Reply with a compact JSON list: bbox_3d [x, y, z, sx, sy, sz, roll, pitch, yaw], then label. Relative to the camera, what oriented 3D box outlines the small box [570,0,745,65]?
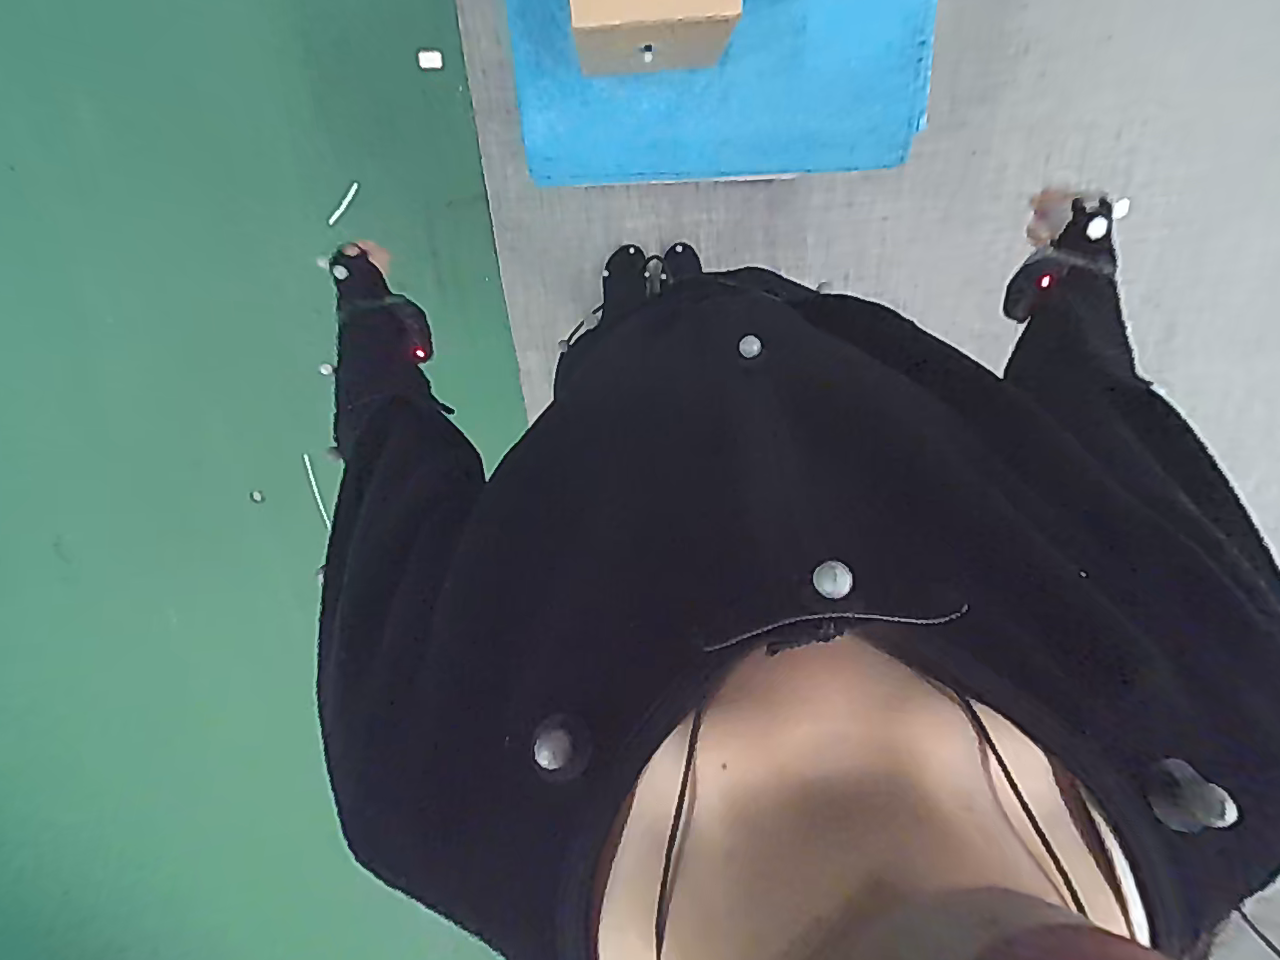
[{"bbox_3d":[0.011,-0.572,0.578,0.179,0.176,0.168,-4,113,1],"label":"small box"}]
